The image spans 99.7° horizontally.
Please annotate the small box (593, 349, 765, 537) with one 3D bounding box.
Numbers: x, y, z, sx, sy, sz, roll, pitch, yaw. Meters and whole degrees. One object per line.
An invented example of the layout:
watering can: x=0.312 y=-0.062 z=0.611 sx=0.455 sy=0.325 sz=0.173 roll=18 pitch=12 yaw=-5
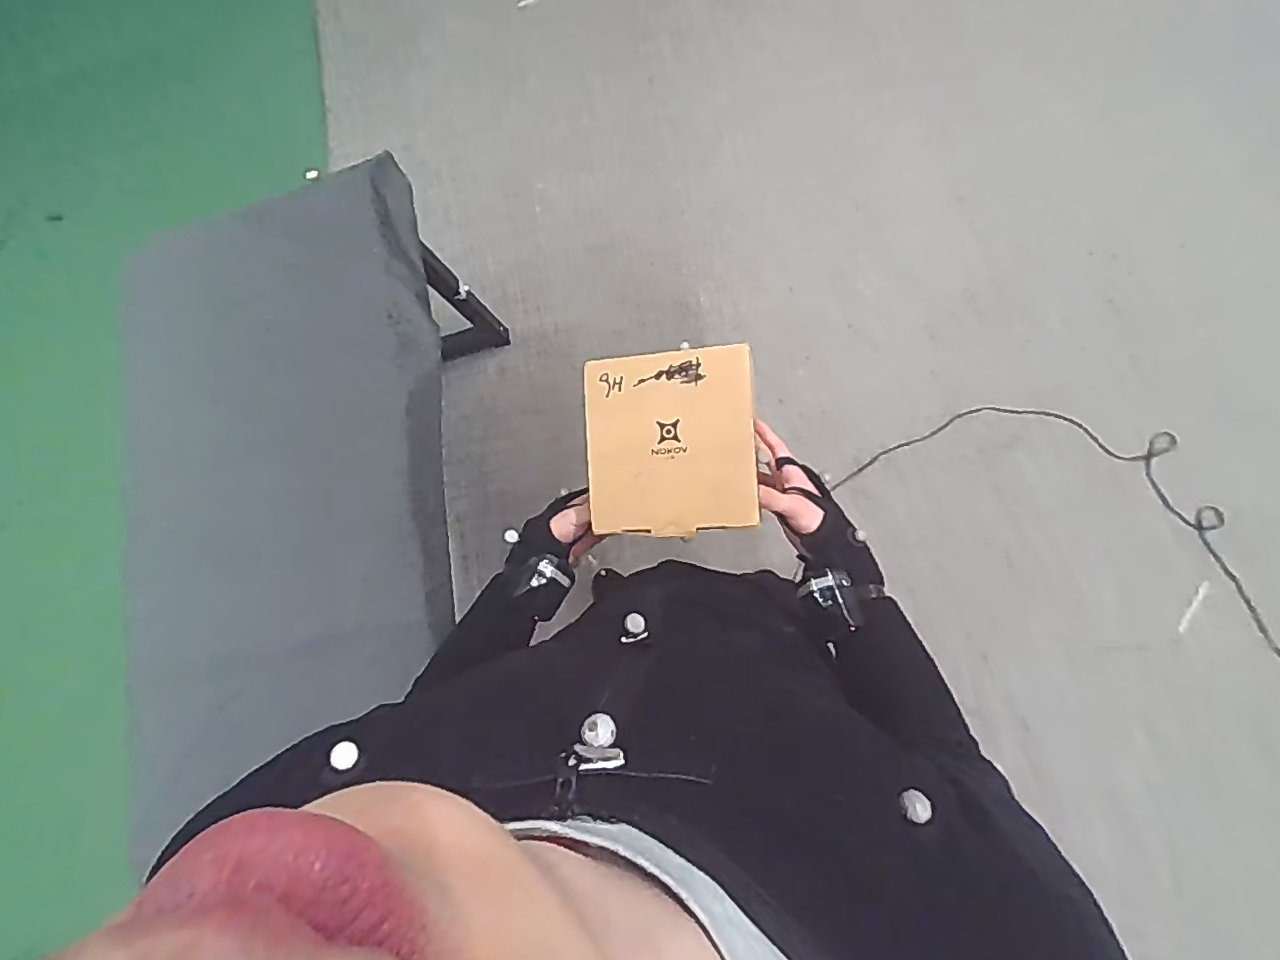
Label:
small box: x=0.052 y=-0.032 z=0.596 sx=0.168 sy=0.176 sz=0.179 roll=-3 pitch=88 yaw=11
